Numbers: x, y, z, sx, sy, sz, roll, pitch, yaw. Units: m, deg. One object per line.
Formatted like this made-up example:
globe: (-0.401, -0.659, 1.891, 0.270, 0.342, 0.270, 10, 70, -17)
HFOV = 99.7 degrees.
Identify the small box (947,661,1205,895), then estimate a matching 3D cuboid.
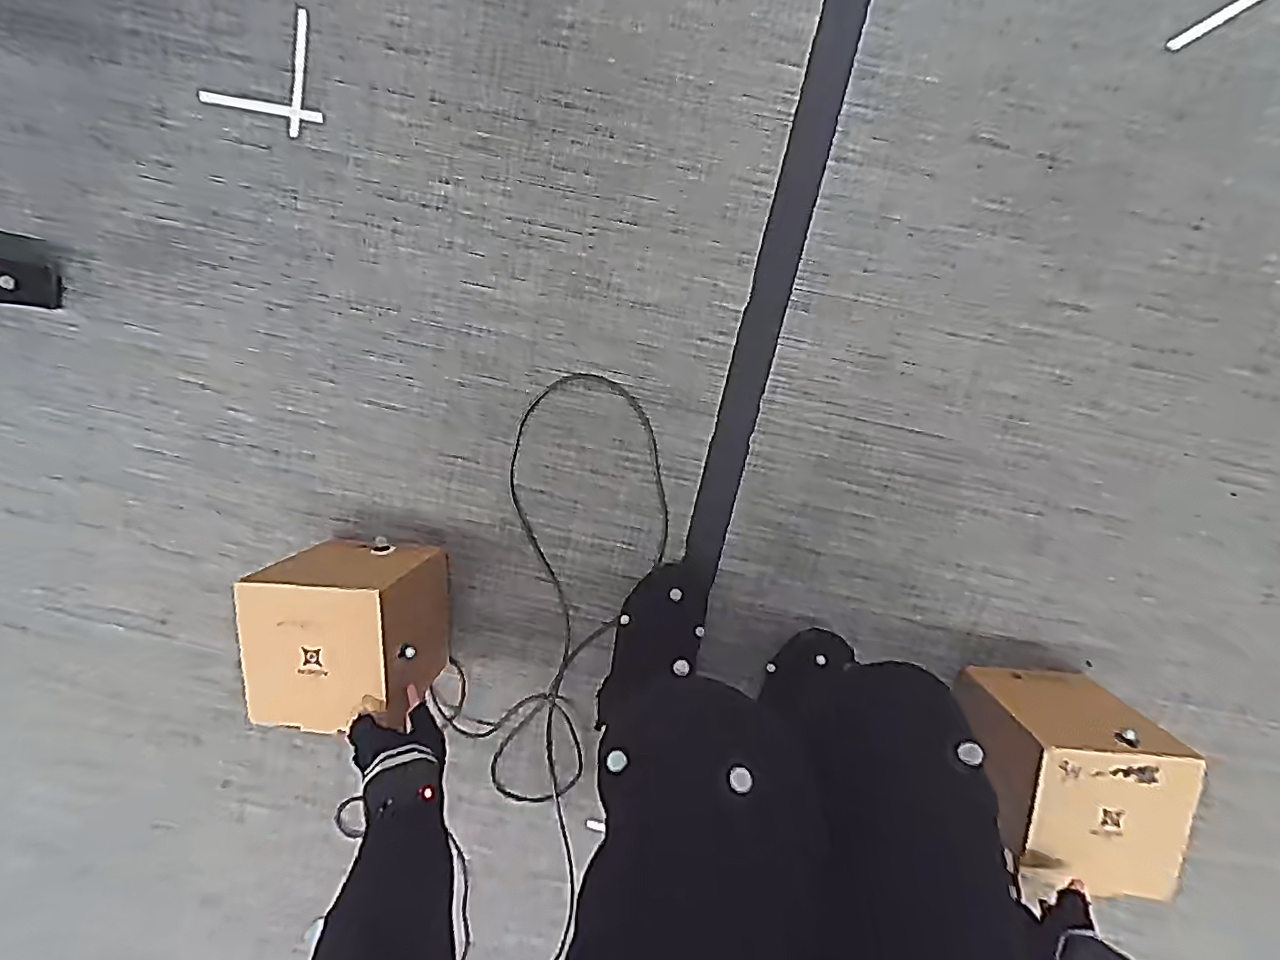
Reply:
small box: (0.502, 0.347, 0.655, 0.168, 0.176, 0.179, 3, 101, 3)

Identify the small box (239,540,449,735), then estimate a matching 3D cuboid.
small box: (-0.353, 0.186, 0.678, 0.168, 0.176, 0.179, 1, 99, 4)
